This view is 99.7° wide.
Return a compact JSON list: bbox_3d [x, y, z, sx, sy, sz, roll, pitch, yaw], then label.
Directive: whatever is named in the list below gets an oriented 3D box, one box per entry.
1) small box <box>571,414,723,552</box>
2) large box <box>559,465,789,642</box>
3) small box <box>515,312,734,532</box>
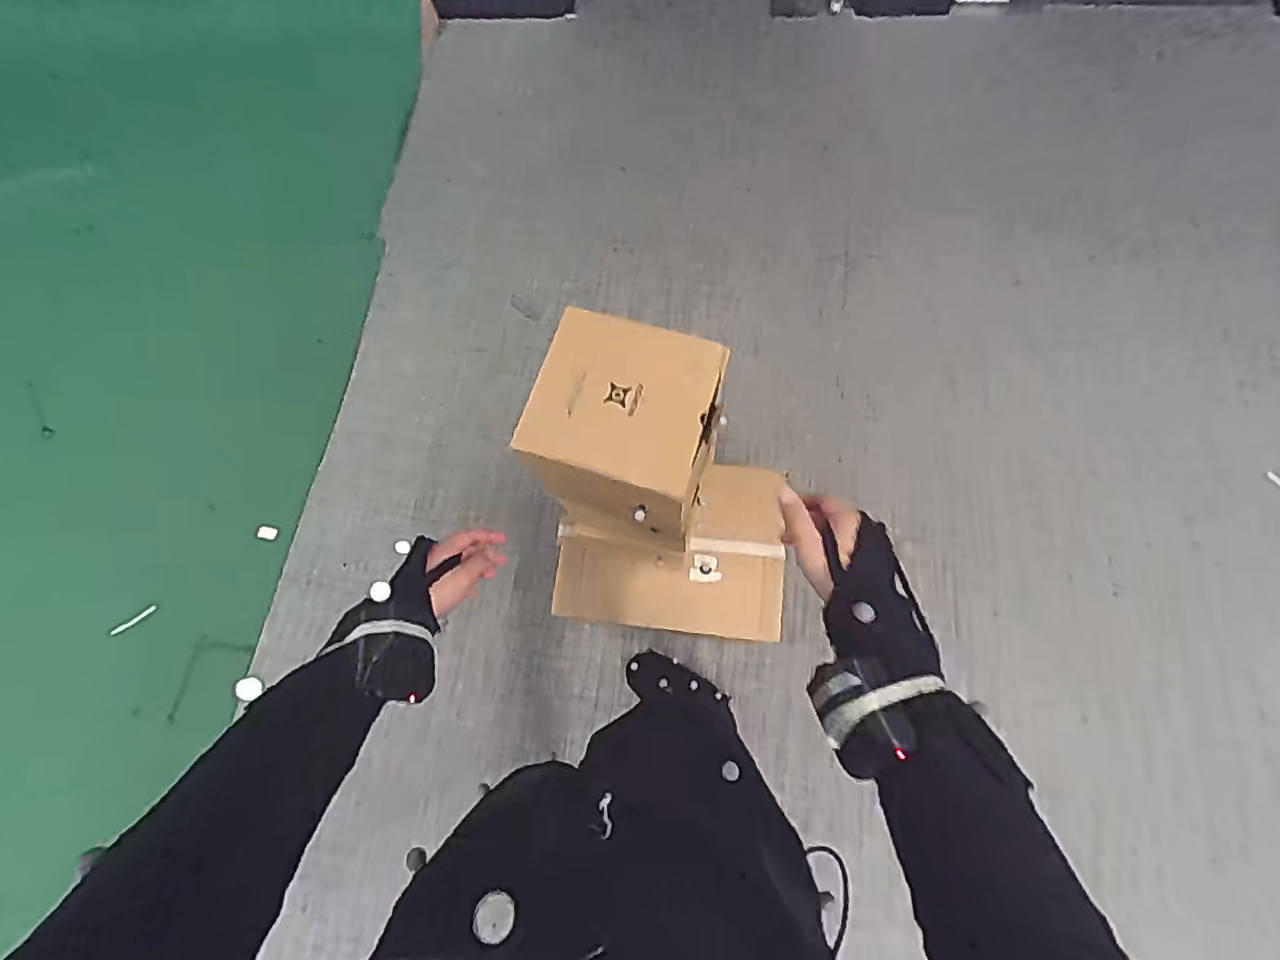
[{"bbox_3d":[0.006,-0.009,0.754,0.179,0.176,0.168,15,74,8],"label":"small box"},{"bbox_3d":[0.073,0.157,1.124,0.408,0.320,0.320,5,74,5],"label":"large box"},{"bbox_3d":[-0.008,-0.051,0.598,0.179,0.176,0.168,16,73,9],"label":"small box"}]
